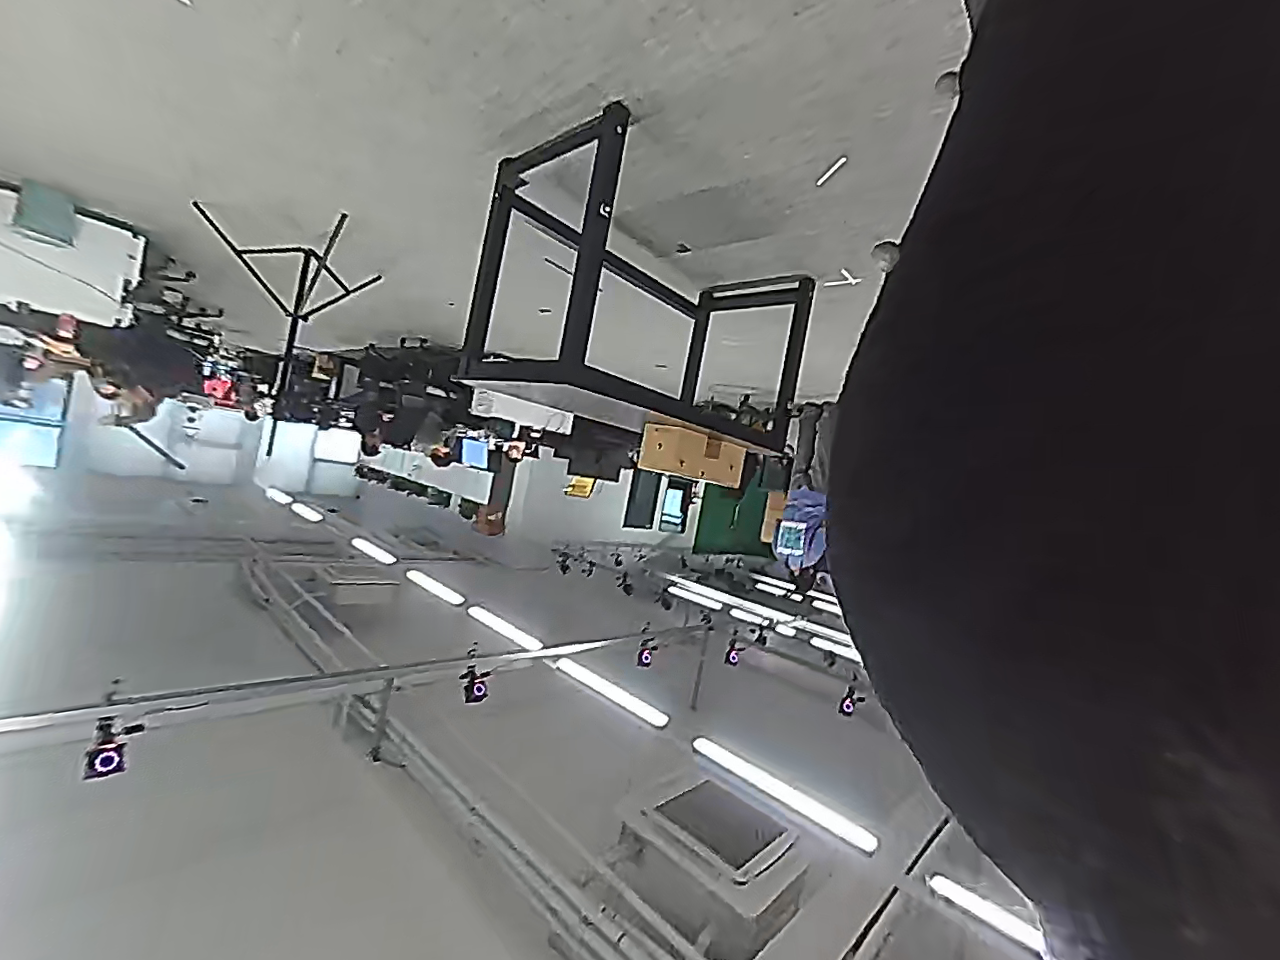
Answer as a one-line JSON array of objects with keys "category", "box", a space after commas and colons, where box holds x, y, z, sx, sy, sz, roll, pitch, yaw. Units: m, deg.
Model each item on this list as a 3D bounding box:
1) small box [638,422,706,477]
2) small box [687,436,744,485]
[{"category": "small box", "box": [0.120, -0.115, 1.995, 0.168, 0.176, 0.179, 12, -179, 41]}, {"category": "small box", "box": [0.302, -0.083, 2.196, 0.168, 0.176, 0.179, 11, -179, 44]}]
